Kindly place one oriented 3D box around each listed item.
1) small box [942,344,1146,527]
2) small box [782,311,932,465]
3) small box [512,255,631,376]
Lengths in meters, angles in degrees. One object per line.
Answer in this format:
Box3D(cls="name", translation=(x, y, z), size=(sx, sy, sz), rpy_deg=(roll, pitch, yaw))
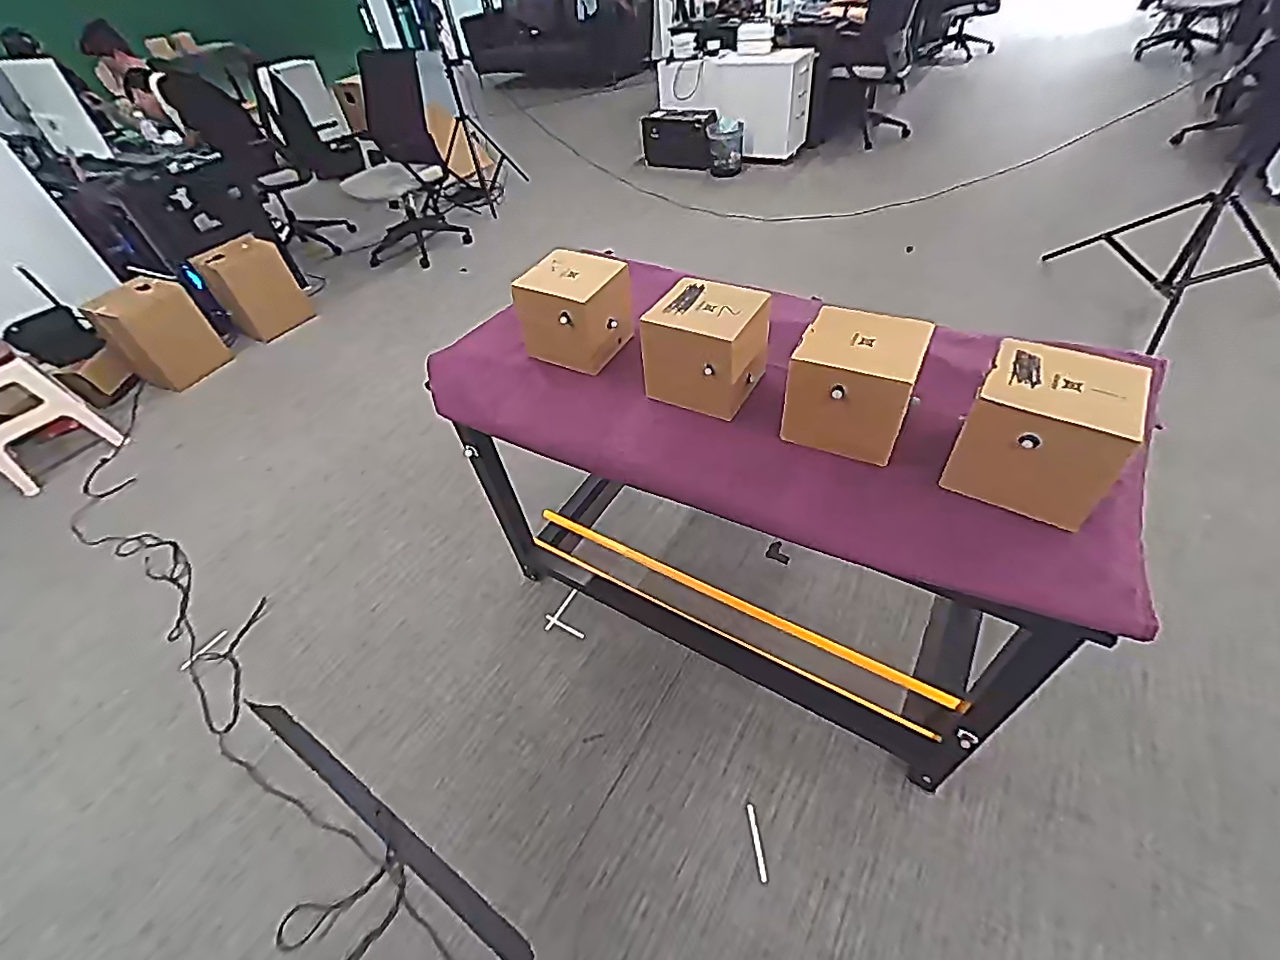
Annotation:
Box3D(cls="small box", translation=(0.556, -0.062, 0.763), size=(0.179, 0.176, 0.168), rpy_deg=(24, 53, 27))
Box3D(cls="small box", translation=(0.346, -0.147, 0.881), size=(0.179, 0.176, 0.168), rpy_deg=(18, 52, 24))
Box3D(cls="small box", translation=(-0.131, -0.338, 1.125), size=(0.179, 0.176, 0.168), rpy_deg=(20, 52, 22))
